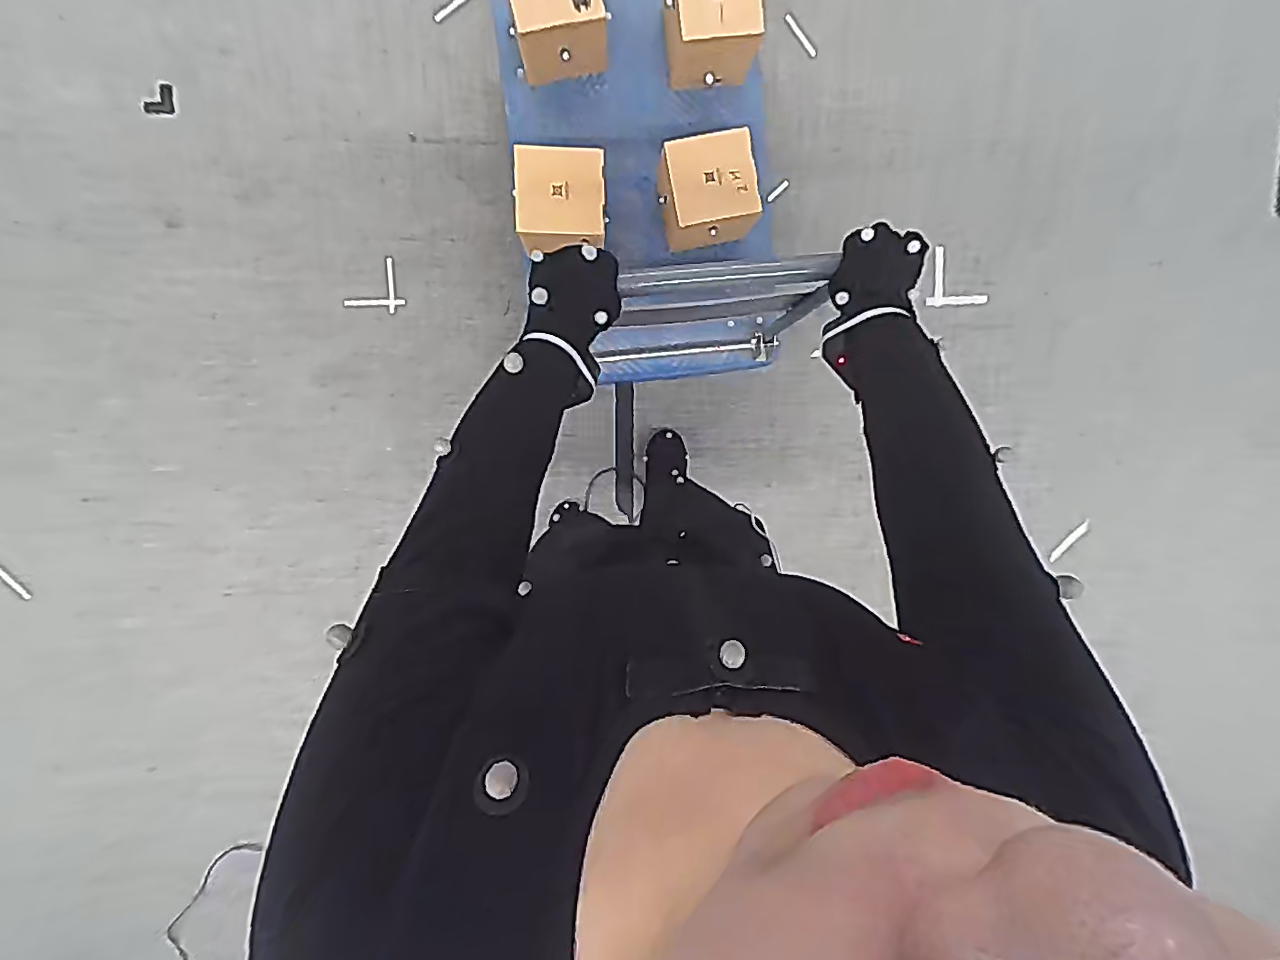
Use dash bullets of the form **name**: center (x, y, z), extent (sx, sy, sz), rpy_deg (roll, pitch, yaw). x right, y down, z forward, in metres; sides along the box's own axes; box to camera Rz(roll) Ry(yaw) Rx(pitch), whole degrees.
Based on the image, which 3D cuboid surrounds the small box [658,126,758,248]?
- **small box**: center (0.137, -0.619, 1.163), extent (0.179, 0.176, 0.168), rpy_deg (-12, 97, -2)

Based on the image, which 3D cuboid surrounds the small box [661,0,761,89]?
- **small box**: center (0.141, -0.962, 1.126), extent (0.168, 0.176, 0.179), rpy_deg (-8, 98, -3)

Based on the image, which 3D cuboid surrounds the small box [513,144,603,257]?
- **small box**: center (-0.168, -0.583, 1.146), extent (0.179, 0.176, 0.168), rpy_deg (-1, 96, -5)
